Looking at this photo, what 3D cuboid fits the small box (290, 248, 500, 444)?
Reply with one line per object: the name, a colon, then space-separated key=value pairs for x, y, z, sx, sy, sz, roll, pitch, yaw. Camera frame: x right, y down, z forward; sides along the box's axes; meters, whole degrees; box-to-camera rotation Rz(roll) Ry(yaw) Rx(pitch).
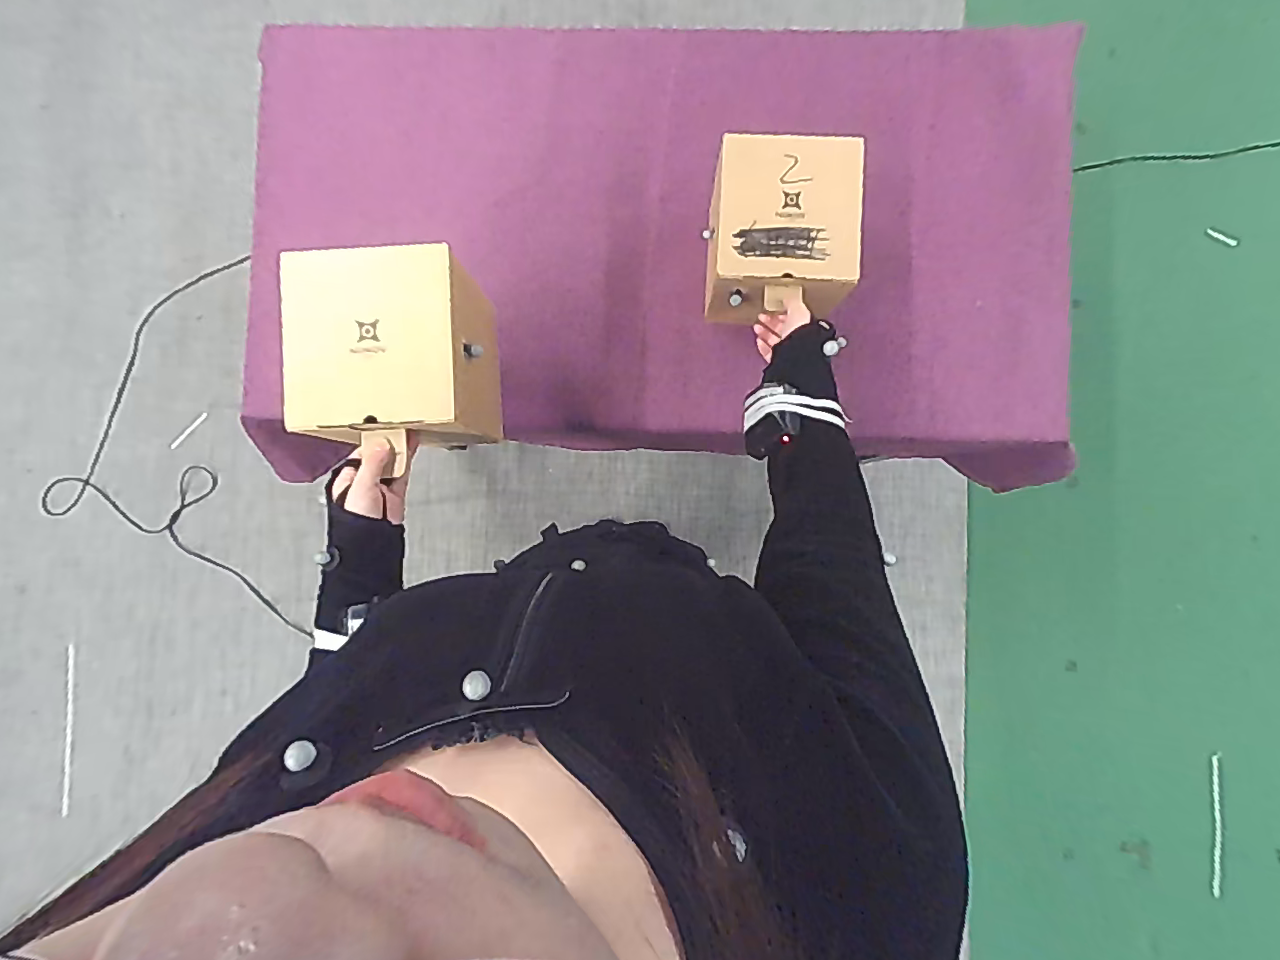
small box: x=-0.263 y=-0.139 z=0.614 sx=0.168 sy=0.176 sz=0.179 roll=-3 pitch=88 yaw=1
